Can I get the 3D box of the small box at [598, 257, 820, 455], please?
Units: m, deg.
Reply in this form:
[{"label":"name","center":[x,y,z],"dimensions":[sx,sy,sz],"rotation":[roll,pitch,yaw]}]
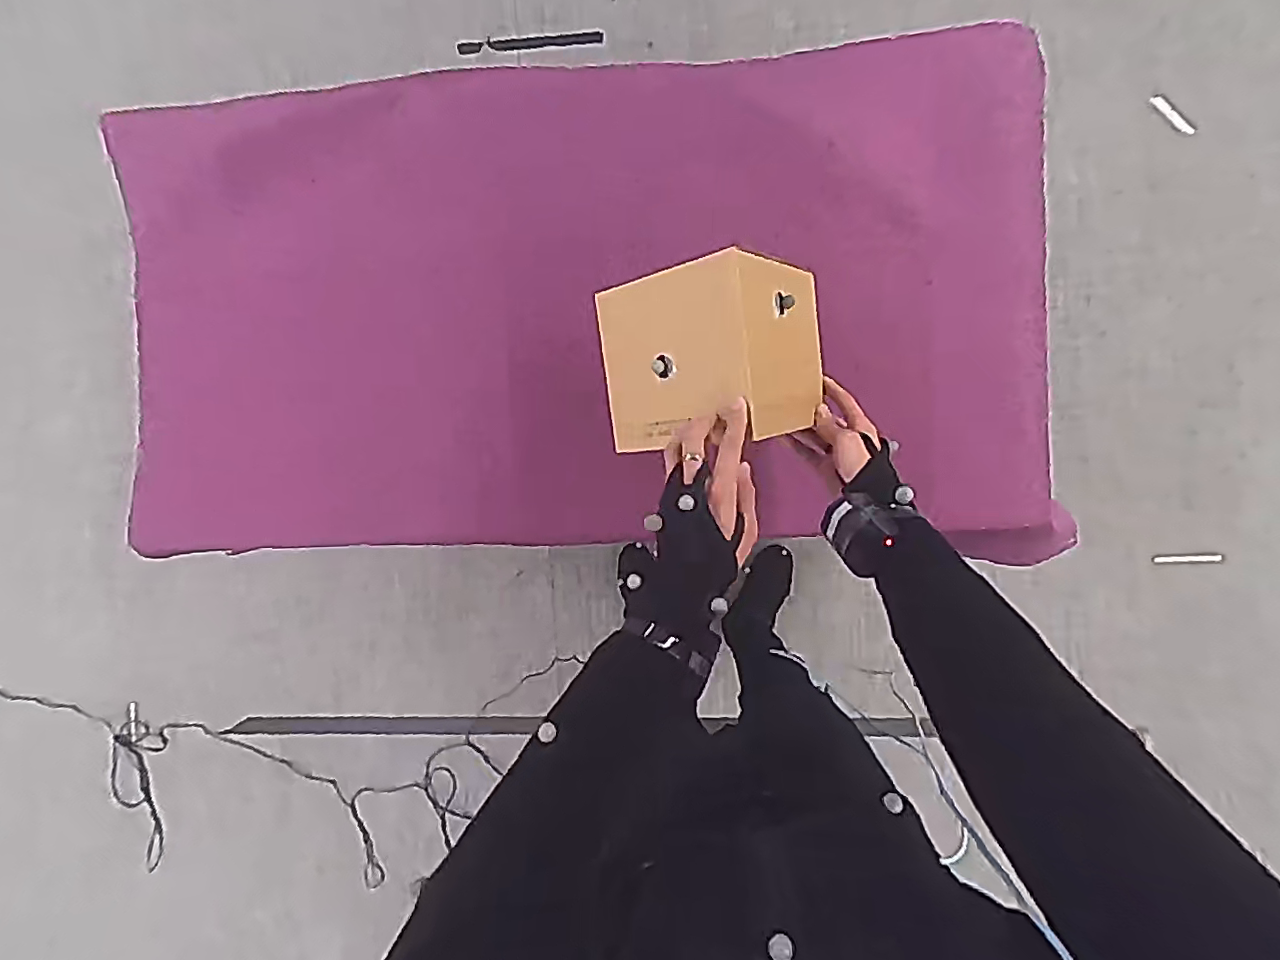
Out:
[{"label":"small box","center":[0.082,-0.119,0.580],"dimensions":[0.168,0.179,0.176],"rotation":[-2,99,39]}]
